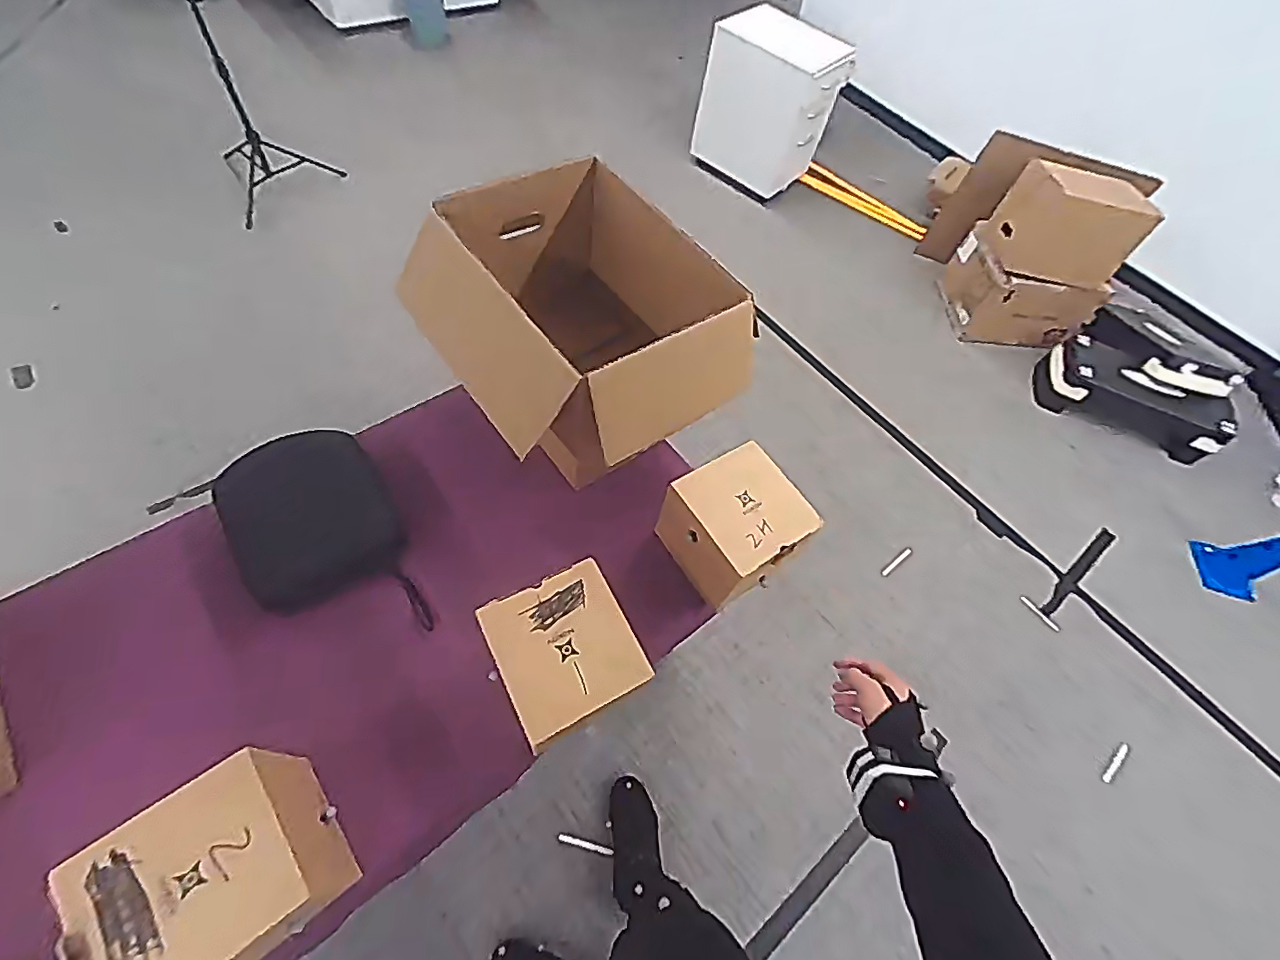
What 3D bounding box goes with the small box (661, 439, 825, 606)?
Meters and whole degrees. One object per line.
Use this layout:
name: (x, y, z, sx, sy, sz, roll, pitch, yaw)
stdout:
small box: (0.151, 0.072, 0.866, 0.168, 0.176, 0.179, -27, 67, -20)
